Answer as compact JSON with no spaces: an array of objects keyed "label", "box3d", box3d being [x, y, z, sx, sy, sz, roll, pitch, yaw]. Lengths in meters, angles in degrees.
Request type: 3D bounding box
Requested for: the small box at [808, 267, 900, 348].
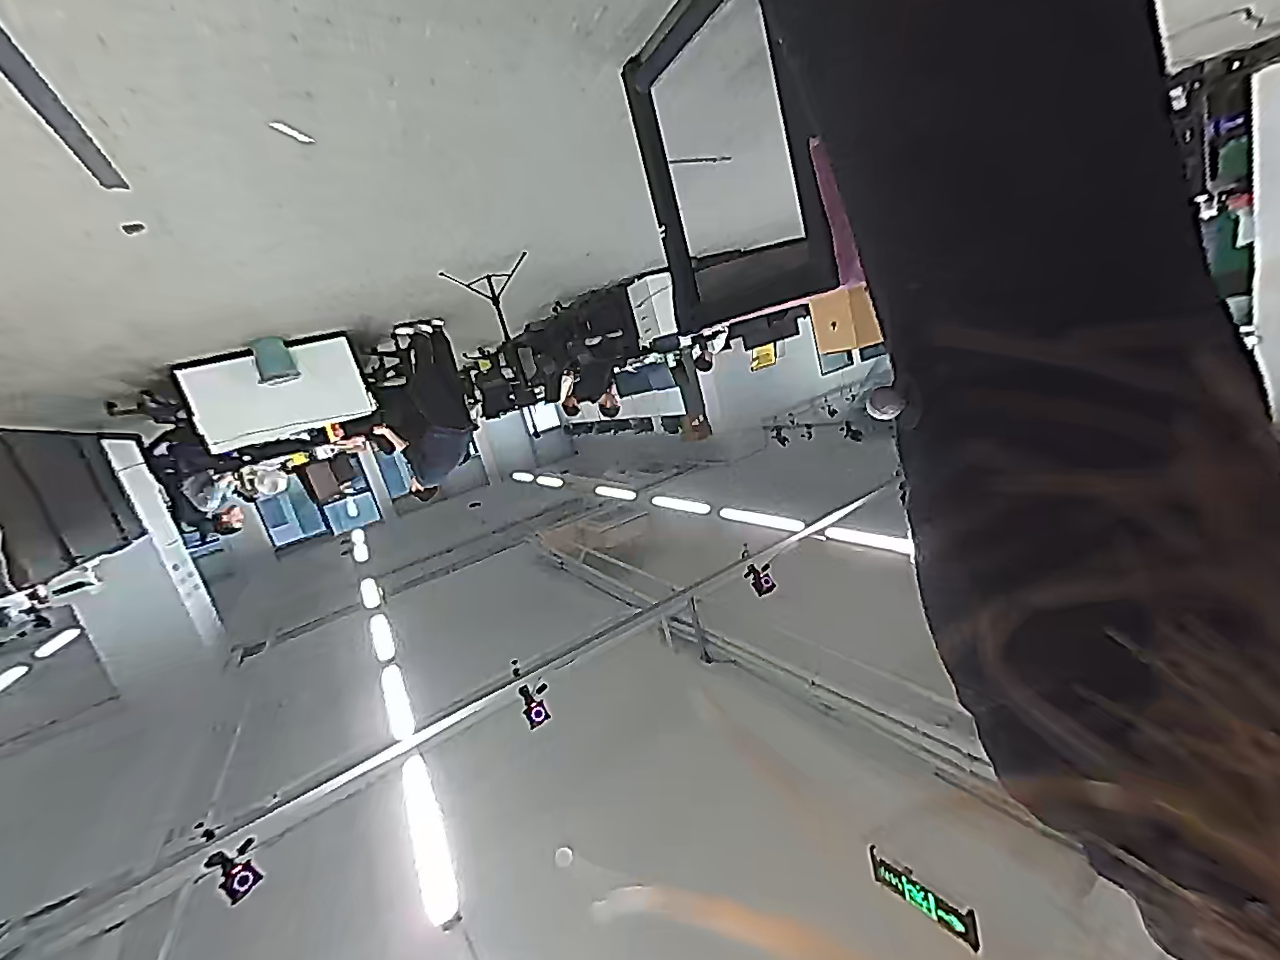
[{"label":"small box","box3d":[0.593,-0.483,1.519,0.168,0.176,0.179,-20,-168,-14]}]
